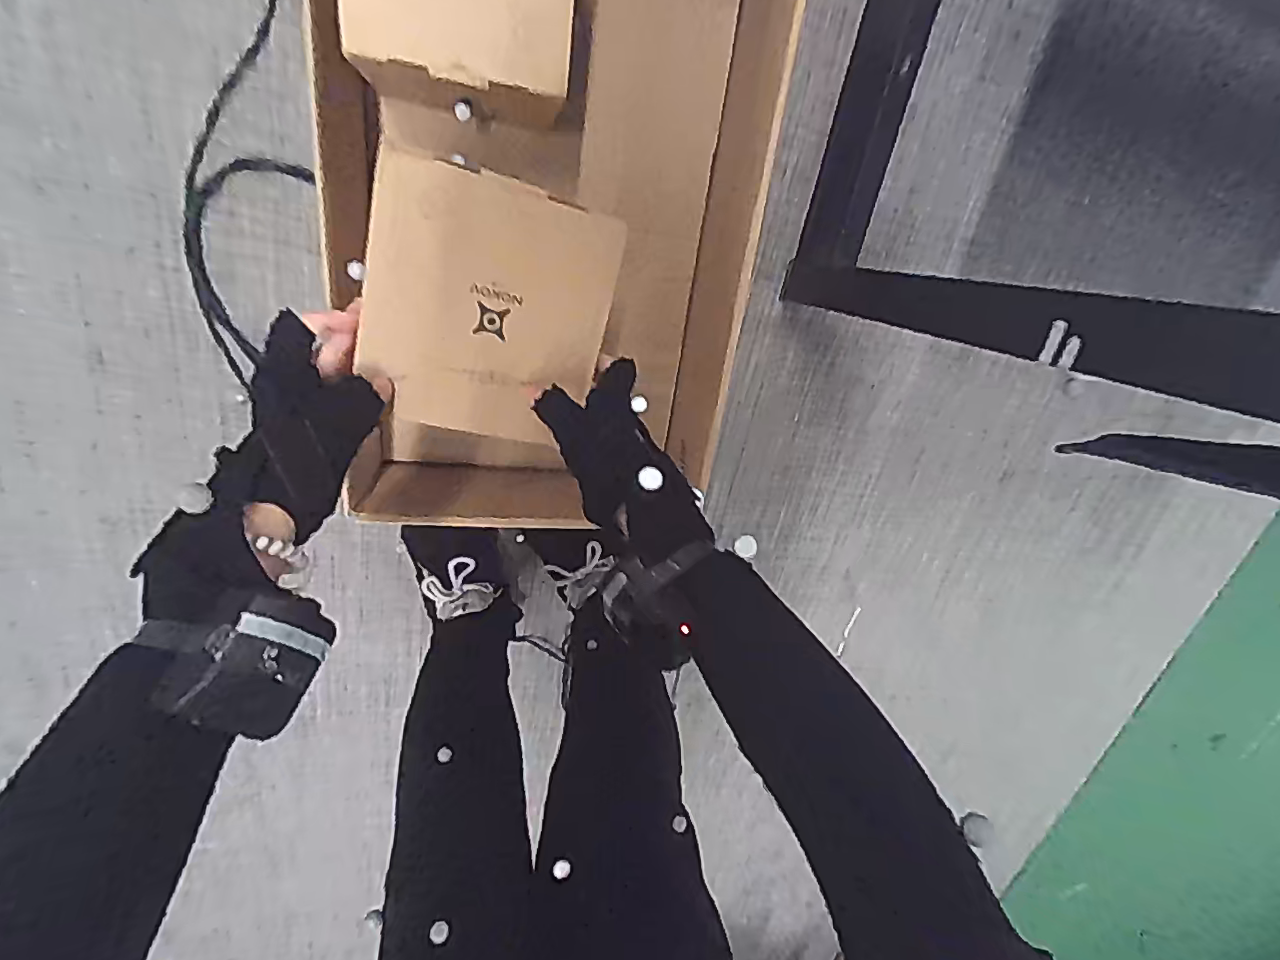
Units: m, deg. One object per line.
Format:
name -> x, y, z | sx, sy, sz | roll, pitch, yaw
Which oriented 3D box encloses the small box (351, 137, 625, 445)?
small box -> -0.132, -0.147, 0.457 | 0.168, 0.176, 0.179 | 10, 106, -23
